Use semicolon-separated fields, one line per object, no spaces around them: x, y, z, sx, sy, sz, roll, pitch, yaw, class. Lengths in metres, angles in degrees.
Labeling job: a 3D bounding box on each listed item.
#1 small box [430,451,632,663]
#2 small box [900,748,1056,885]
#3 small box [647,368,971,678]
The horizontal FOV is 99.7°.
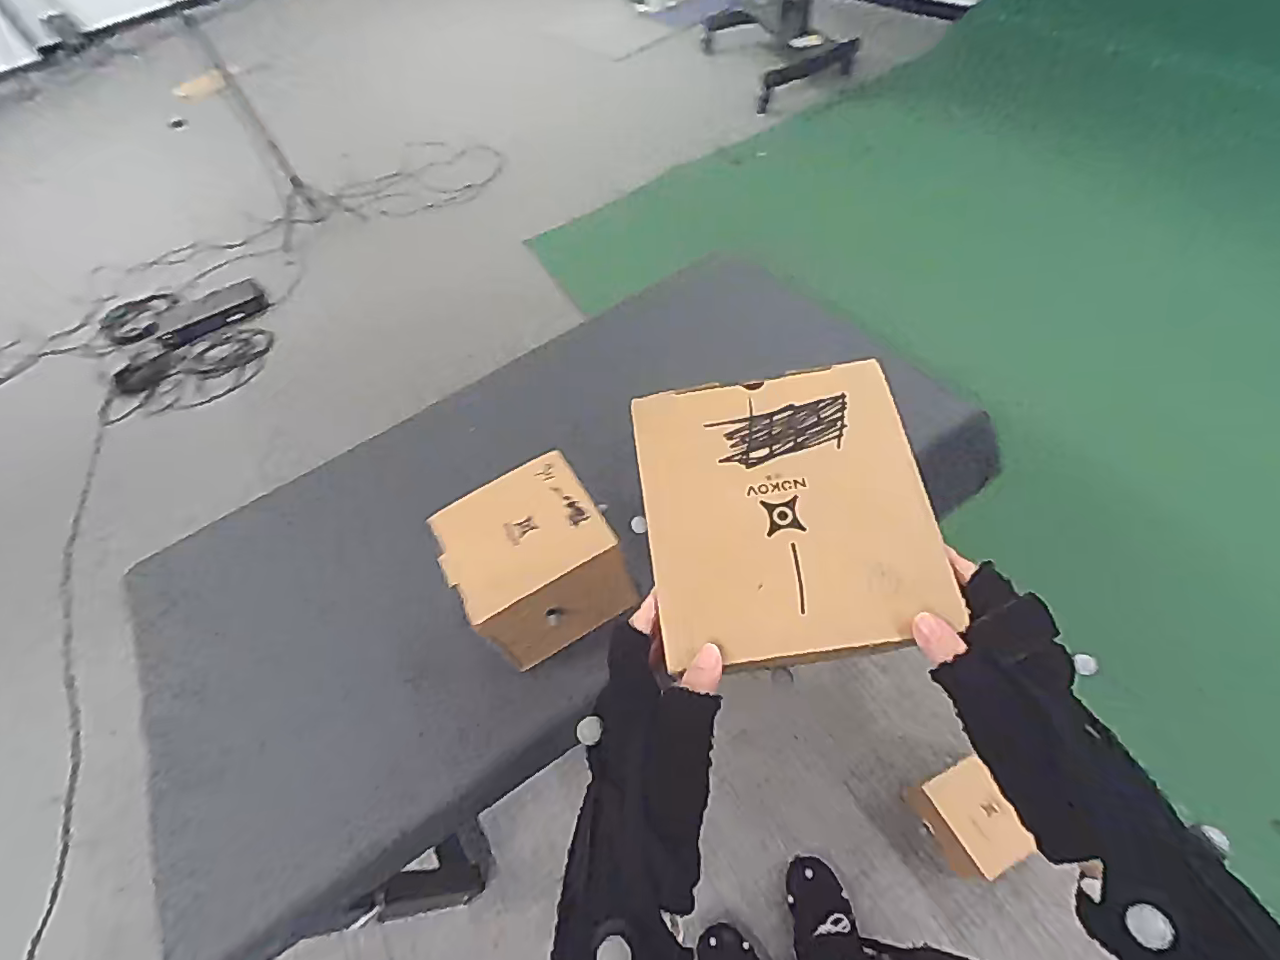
-0.129;0.103;0.686;0.179;0.176;0.168;-29;56;-11;small box
0.652;0.663;1.070;0.179;0.176;0.168;-26;55;-8;small box
0.098;0.044;0.399;0.168;0.176;0.179;-7;68;4;small box
